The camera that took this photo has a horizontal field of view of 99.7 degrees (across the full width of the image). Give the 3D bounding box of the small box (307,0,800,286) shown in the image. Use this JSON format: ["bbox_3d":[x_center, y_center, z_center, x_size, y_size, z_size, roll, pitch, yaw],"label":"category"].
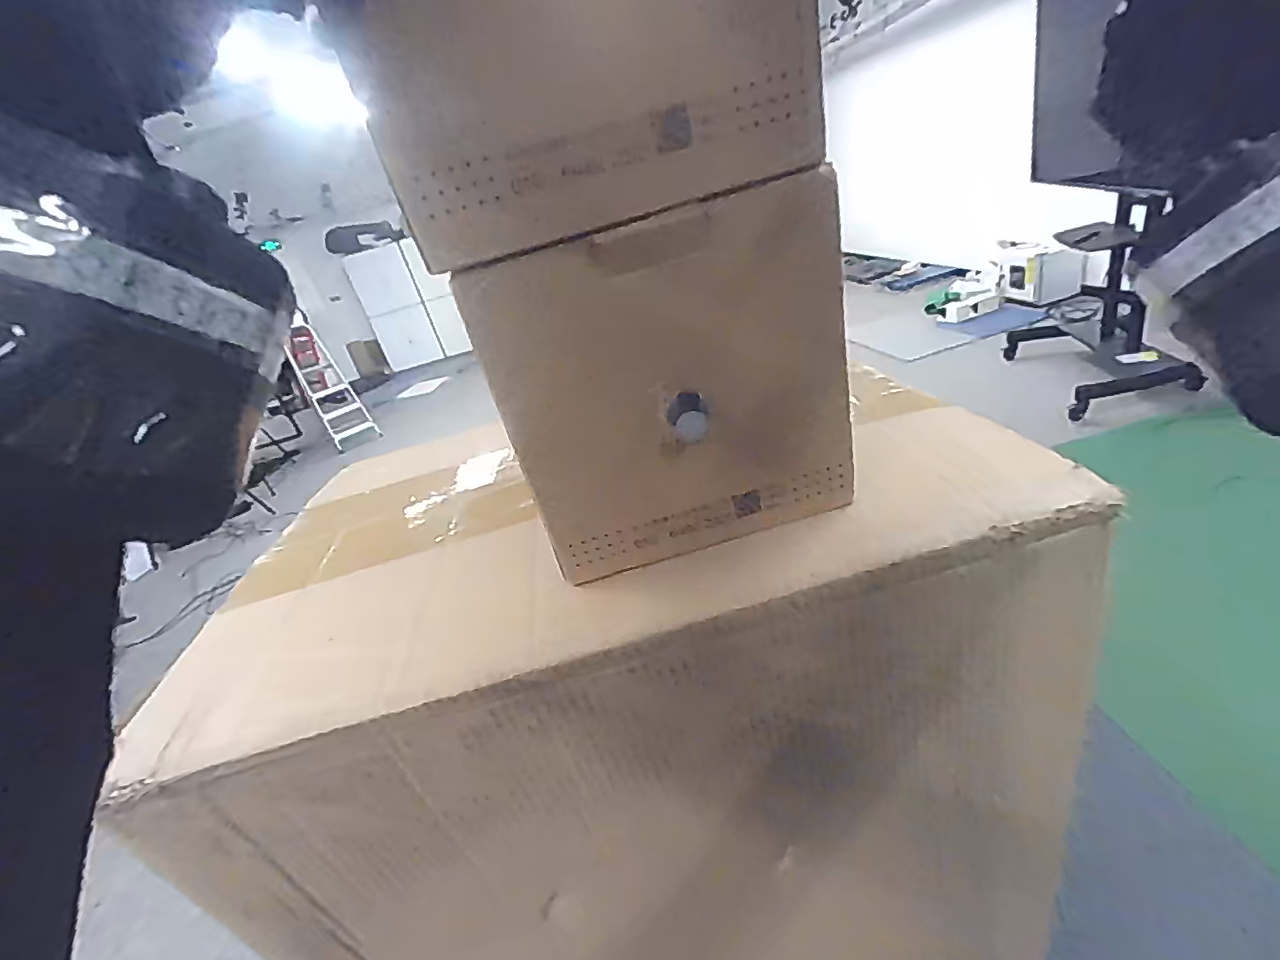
[{"bbox_3d":[-0.039,-0.200,0.252,0.168,0.176,0.179,-16,28,-3],"label":"small box"}]

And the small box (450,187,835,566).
[{"bbox_3d":[0.006,-0.066,0.333,0.168,0.176,0.179,-16,30,-1],"label":"small box"}]
